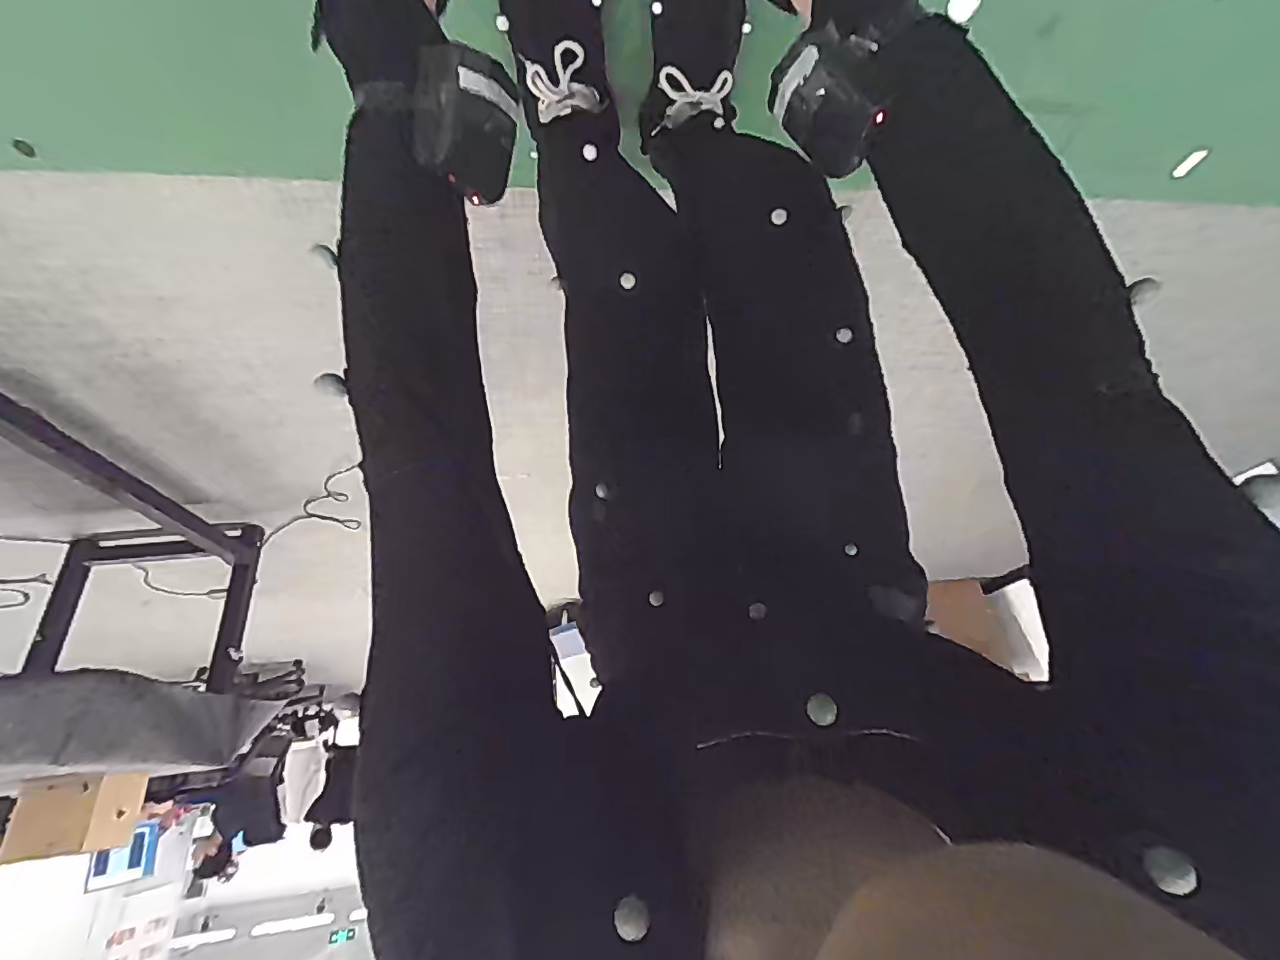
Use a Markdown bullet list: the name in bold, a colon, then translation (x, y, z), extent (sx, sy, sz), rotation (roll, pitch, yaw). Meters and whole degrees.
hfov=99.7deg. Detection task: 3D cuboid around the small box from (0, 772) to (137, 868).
- **small box**: translation (-1.373, 0.808, 1.297), extent (0.168, 0.176, 0.179), rotation (-2, 153, -11)
